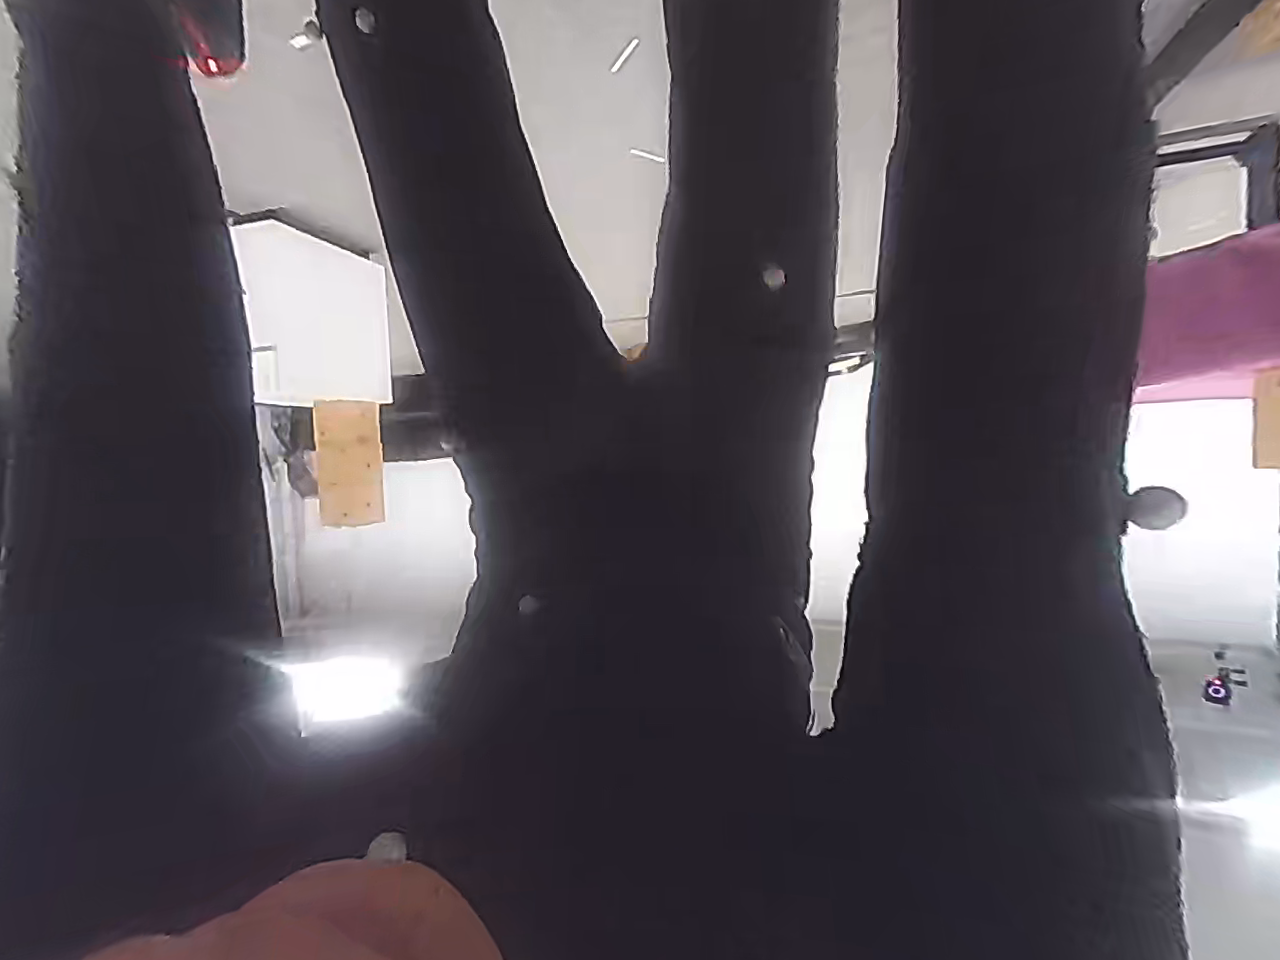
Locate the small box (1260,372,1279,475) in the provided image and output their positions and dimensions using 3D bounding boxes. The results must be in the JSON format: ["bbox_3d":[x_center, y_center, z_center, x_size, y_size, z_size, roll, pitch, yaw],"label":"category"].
[{"bbox_3d":[1.101,-0.089,0.804,0.179,0.176,0.168,-1,-177,18],"label":"small box"}]

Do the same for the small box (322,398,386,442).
[{"bbox_3d":[-1.164,-0.241,2.206,0.179,0.176,0.168,0,-176,18],"label":"small box"}]

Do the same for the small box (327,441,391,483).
[{"bbox_3d":[-1.154,-0.077,2.217,0.168,0.176,0.179,0,-175,17],"label":"small box"}]
